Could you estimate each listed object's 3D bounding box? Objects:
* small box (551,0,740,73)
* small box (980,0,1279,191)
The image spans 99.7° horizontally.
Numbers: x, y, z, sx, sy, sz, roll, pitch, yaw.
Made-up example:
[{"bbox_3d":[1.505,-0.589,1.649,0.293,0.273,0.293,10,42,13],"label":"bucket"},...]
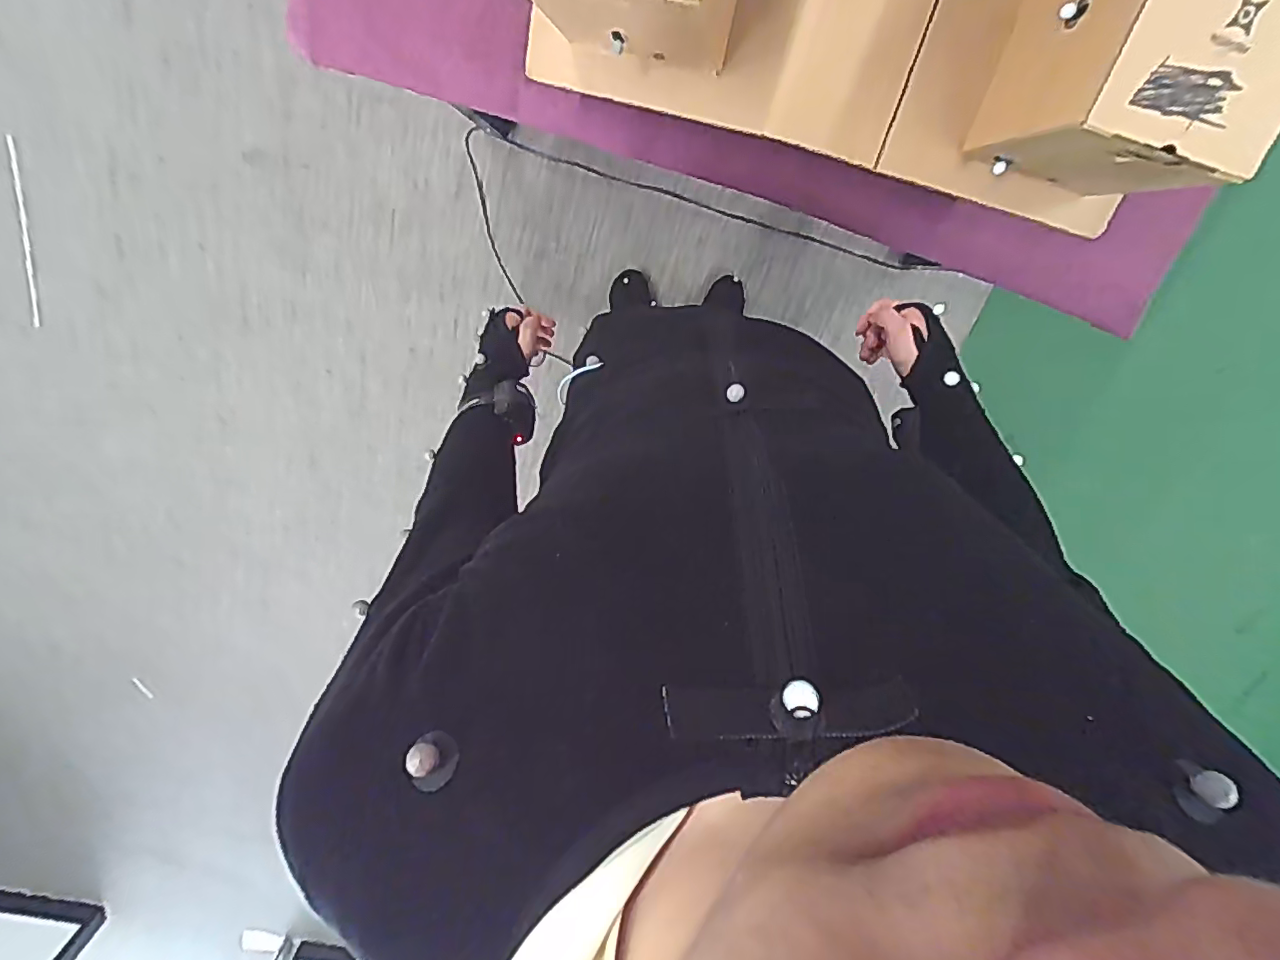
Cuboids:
[{"bbox_3d":[0.010,-0.487,0.459,0.168,0.176,0.179,16,115,7],"label":"small box"},{"bbox_3d":[0.450,-0.375,0.483,0.168,0.176,0.179,12,112,-9],"label":"small box"}]
